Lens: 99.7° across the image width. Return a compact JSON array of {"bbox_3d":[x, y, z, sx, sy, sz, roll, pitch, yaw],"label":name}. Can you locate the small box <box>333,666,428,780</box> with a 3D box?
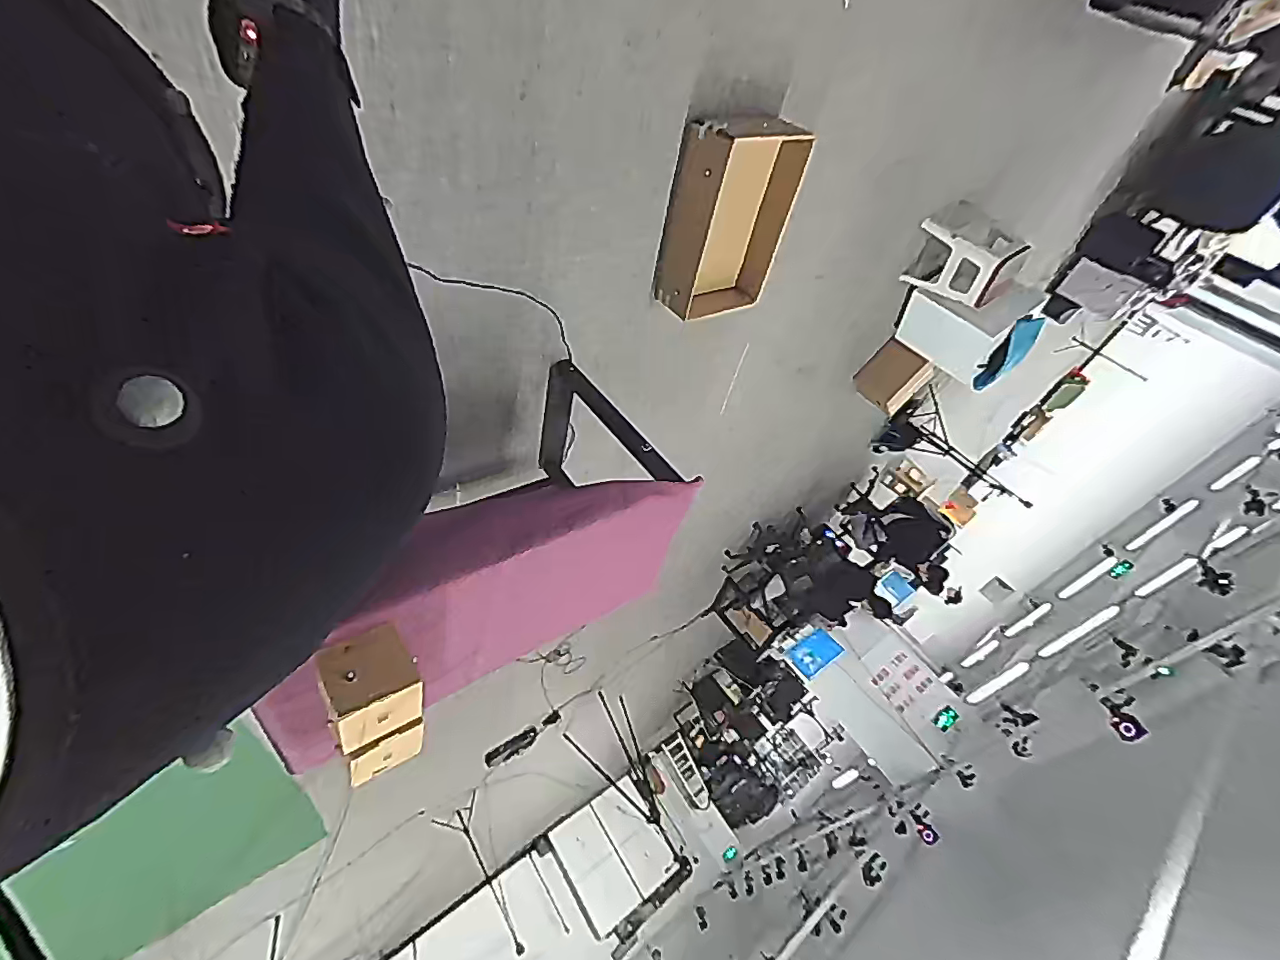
[{"bbox_3d":[-0.637,0.583,1.322,0.168,0.176,0.179,-16,142,-39],"label":"small box"}]
